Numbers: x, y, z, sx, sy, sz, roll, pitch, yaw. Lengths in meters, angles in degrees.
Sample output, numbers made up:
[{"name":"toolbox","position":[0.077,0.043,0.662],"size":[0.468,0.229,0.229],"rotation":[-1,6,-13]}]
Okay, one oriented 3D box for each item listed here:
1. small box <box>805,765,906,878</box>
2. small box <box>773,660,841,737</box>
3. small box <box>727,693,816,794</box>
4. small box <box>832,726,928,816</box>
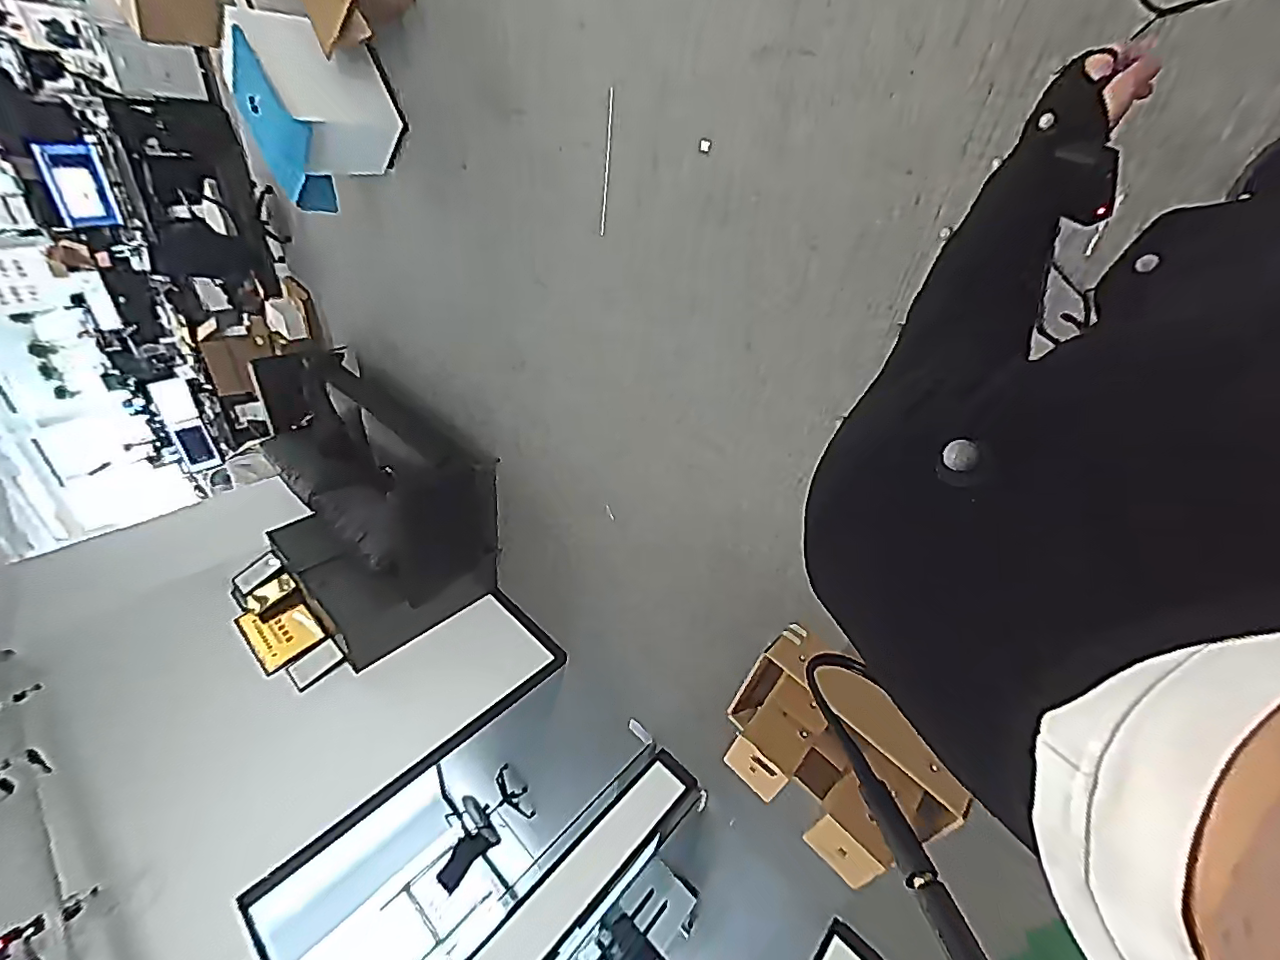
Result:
[{"name":"small box","position":[0.582,0.909,1.449],"size":[0.168,0.176,0.179],"rotation":[39,136,26]},{"name":"small box","position":[0.497,0.698,1.677],"size":[0.168,0.176,0.179],"rotation":[37,136,25]},{"name":"small box","position":[0.385,0.761,1.574],"size":[0.168,0.176,0.179],"rotation":[37,136,26]},{"name":"small box","position":[0.694,0.854,1.557],"size":[0.168,0.176,0.179],"rotation":[38,136,23]}]
